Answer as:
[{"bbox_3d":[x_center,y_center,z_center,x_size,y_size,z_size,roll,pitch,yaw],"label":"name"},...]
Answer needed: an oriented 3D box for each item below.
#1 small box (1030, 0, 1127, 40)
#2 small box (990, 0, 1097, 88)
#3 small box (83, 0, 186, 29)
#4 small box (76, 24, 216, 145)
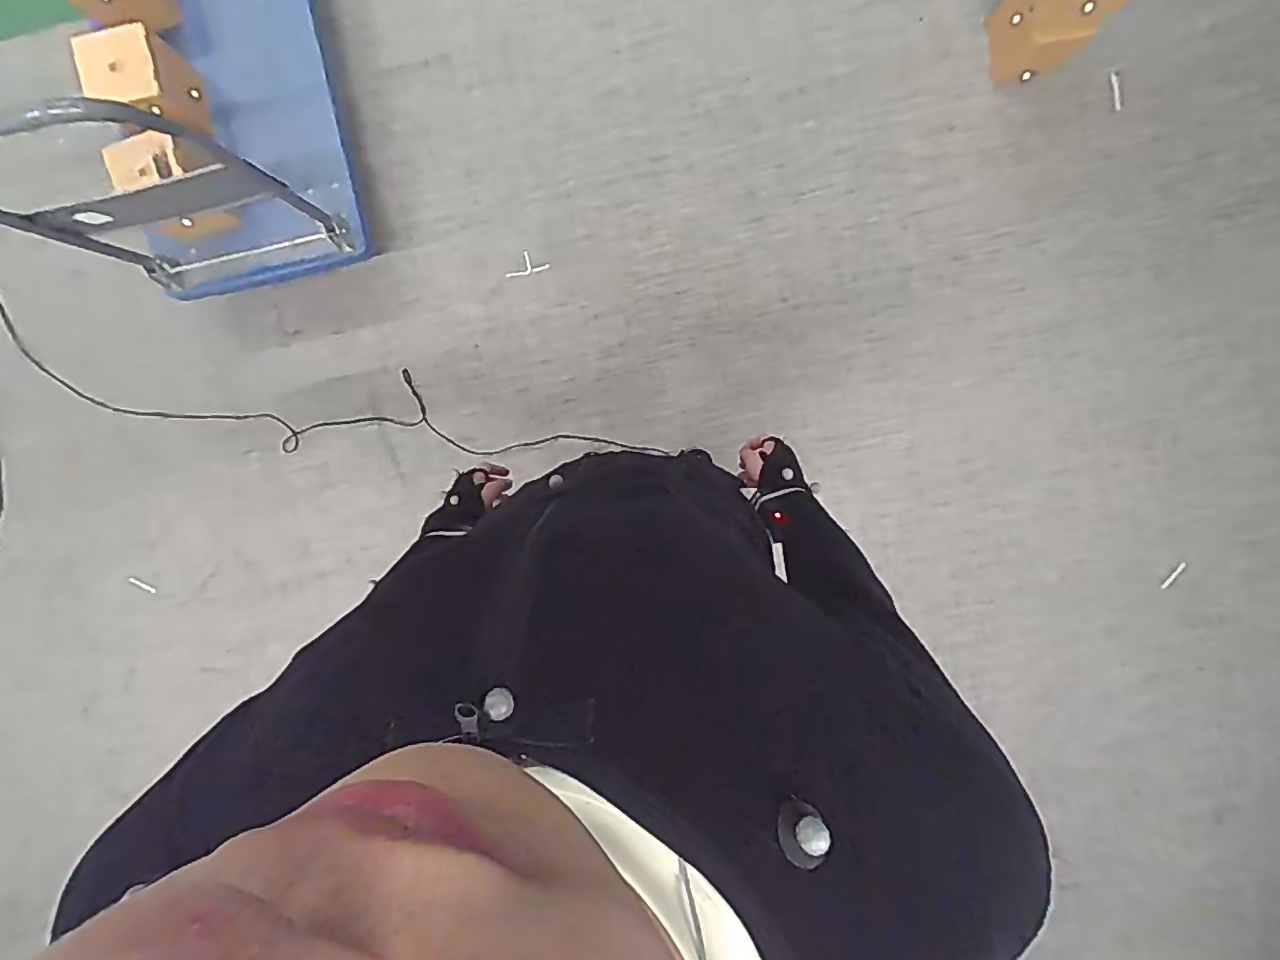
[{"bbox_3d":[1.064,-1.198,1.288,0.179,0.176,0.168,-7,94,3],"label":"small box"},{"bbox_3d":[1.073,-1.205,1.451,0.168,0.176,0.179,-7,94,2],"label":"small box"},{"bbox_3d":[-1.271,-1.238,1.314,0.179,0.176,0.168,-12,95,2],"label":"small box"},{"bbox_3d":[-1.210,-0.965,1.337,0.179,0.176,0.168,-11,94,1],"label":"small box"}]
